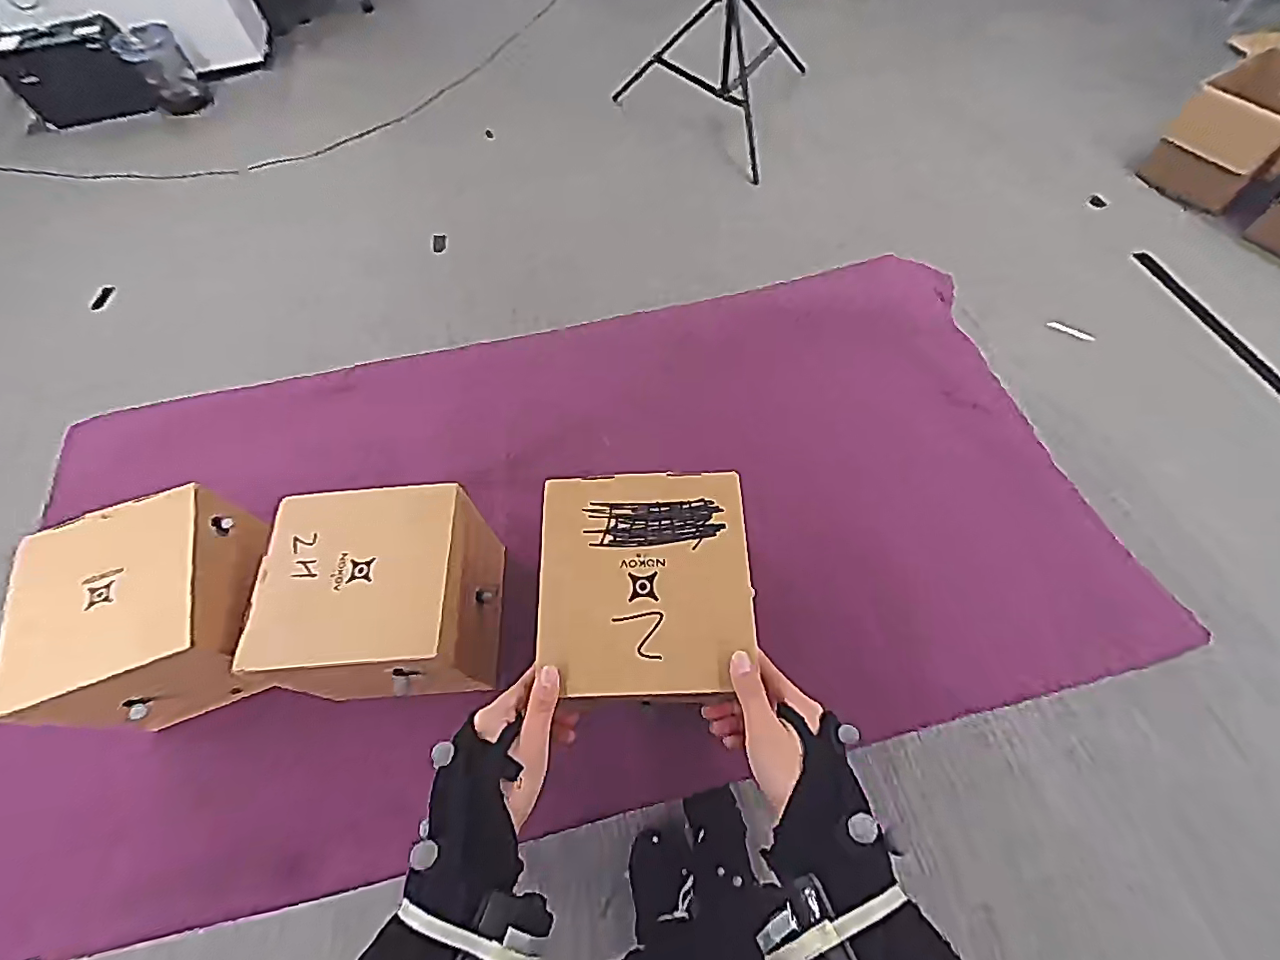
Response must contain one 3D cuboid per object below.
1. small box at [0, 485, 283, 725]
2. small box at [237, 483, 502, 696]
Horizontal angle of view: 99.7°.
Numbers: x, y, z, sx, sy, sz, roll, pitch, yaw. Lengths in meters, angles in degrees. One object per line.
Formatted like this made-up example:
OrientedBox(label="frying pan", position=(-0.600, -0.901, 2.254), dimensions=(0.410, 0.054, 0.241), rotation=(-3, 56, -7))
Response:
OrientedBox(label="small box", position=(-0.481, 0.139, 0.562), dimensions=(0.168, 0.176, 0.179), rotation=(-21, 62, -7))
OrientedBox(label="small box", position=(-0.249, 0.119, 0.555), dimensions=(0.179, 0.176, 0.168), rotation=(-5, 60, 1))
